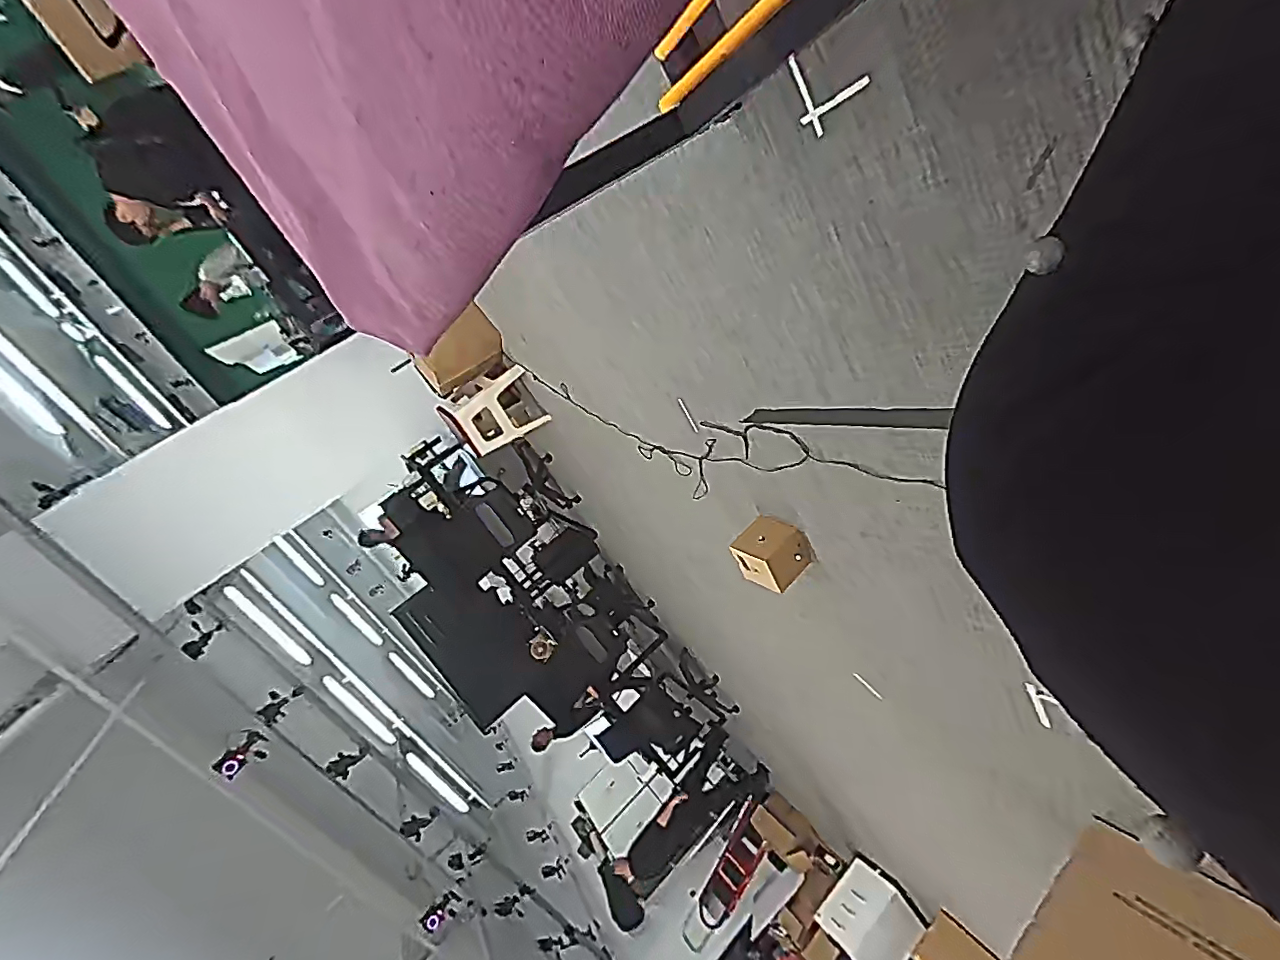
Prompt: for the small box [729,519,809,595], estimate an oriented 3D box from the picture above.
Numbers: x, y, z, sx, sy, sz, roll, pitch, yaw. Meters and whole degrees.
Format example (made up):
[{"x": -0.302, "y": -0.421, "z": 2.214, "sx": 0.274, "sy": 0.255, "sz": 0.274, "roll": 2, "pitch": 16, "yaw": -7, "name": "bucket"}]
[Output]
[{"x": 0.442, "y": 0.255, "z": 1.845, "sx": 0.179, "sy": 0.176, "sz": 0.168, "roll": 19, "pitch": 145, "yaw": 55, "name": "small box"}]
